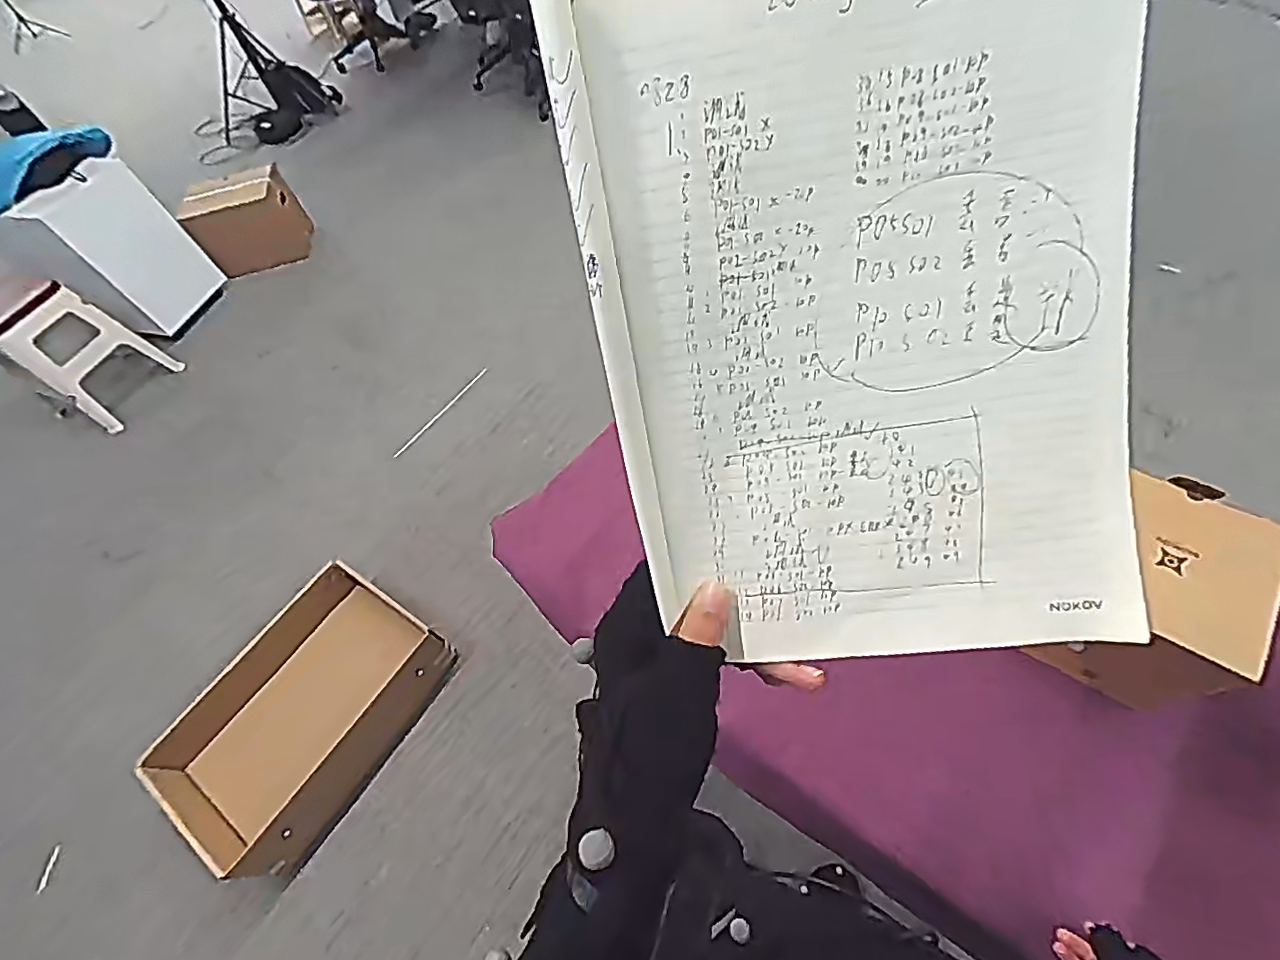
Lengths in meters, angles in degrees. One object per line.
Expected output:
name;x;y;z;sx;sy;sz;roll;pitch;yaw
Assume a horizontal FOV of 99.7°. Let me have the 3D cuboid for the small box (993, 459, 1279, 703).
small box;0.529;0.117;0.598;0.168;0.176;0.179;30;66;24
